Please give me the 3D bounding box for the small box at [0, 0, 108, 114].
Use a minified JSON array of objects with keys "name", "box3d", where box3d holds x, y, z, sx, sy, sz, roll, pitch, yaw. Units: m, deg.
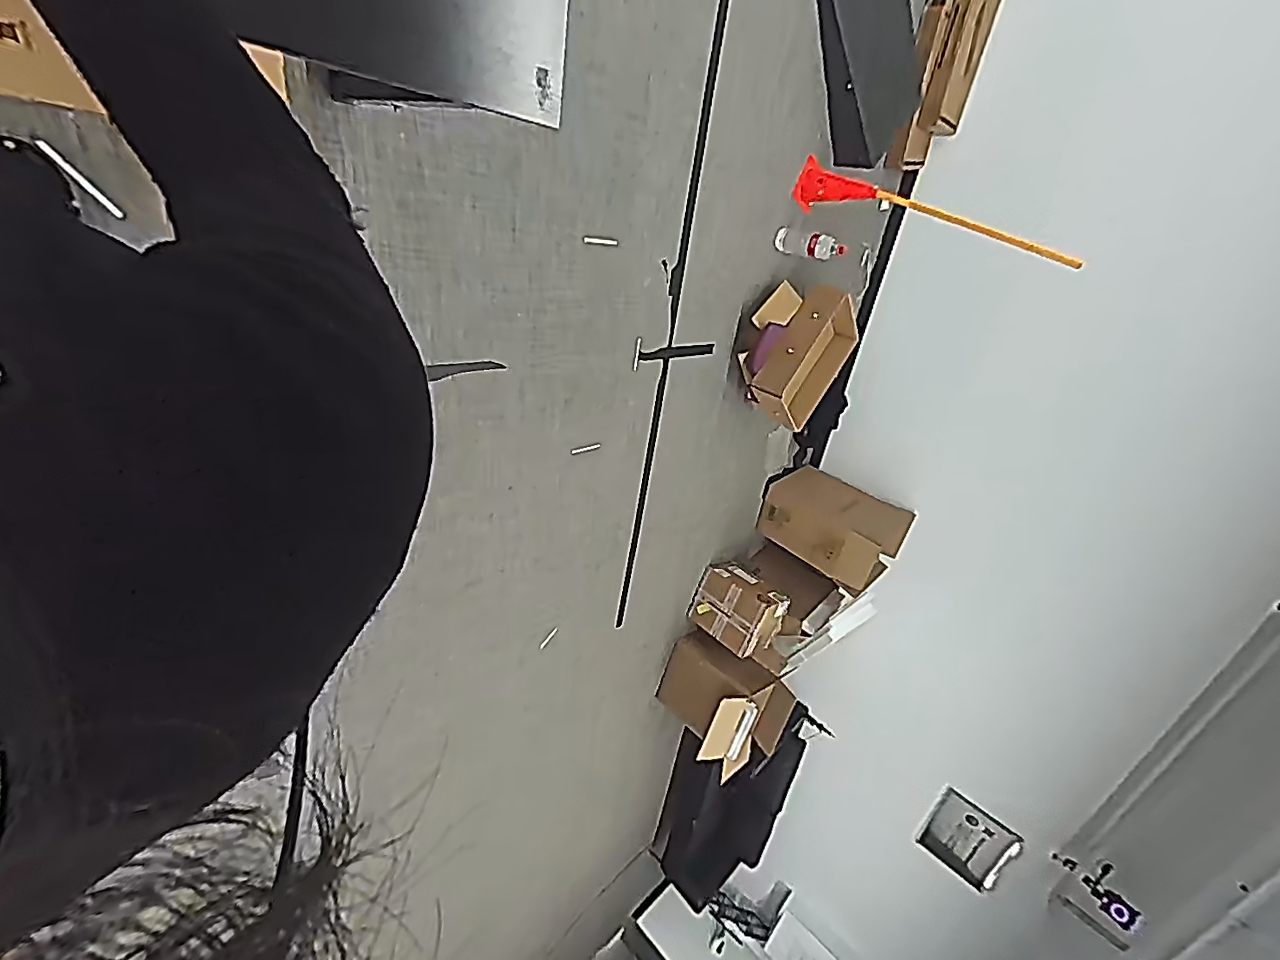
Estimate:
[{"name":"small box","box3d":[-0.952,-0.668,0.813,0.179,0.176,0.168,-18,127,-42]}]
